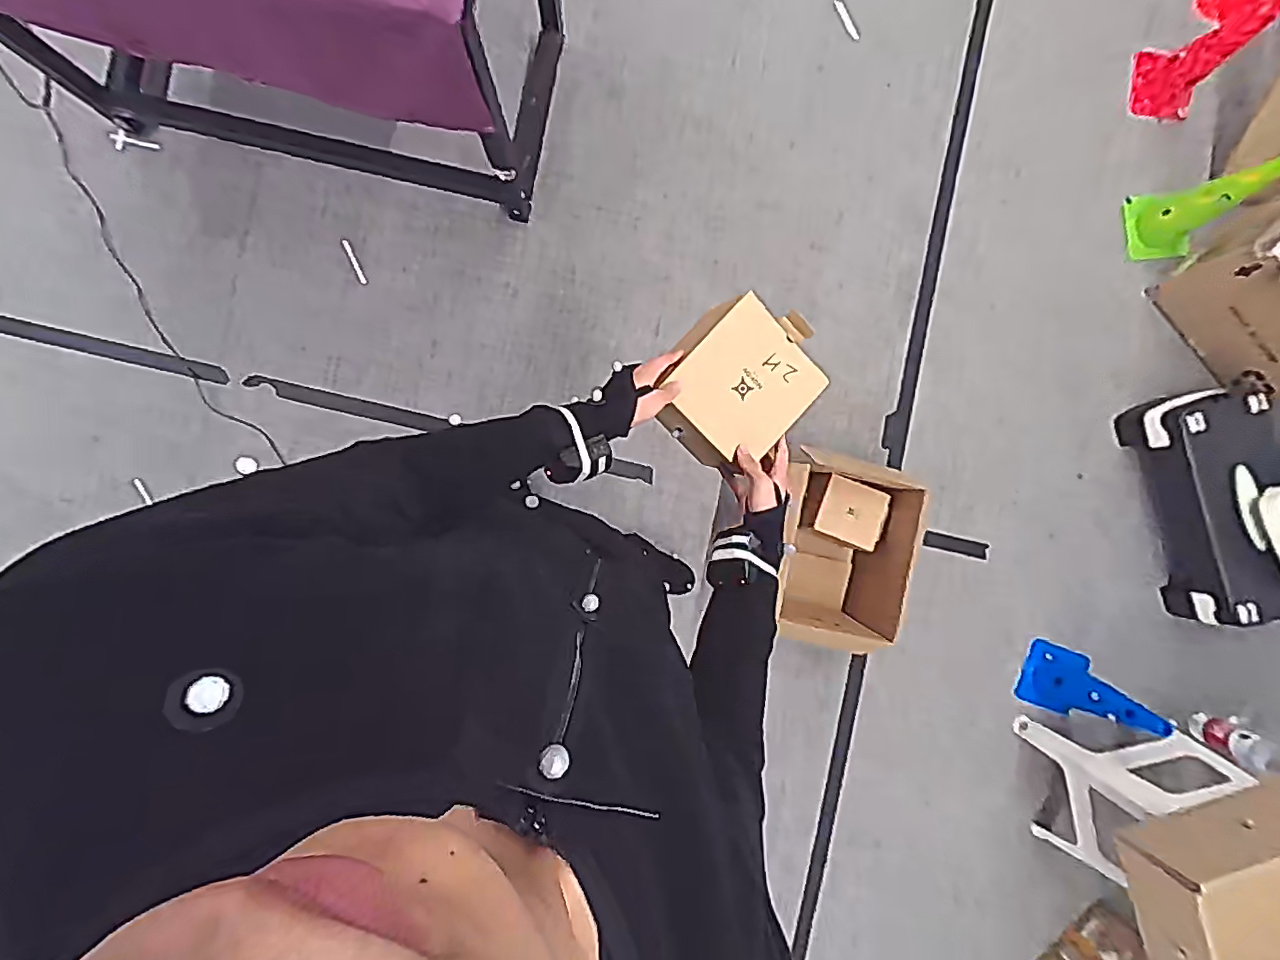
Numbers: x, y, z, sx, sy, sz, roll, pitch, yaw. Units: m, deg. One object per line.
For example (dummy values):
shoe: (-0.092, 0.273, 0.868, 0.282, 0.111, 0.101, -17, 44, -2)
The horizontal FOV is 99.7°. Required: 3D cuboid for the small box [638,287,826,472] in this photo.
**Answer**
small box: (0.114, -0.135, 0.761, 0.168, 0.176, 0.179, 44, 86, -15)
